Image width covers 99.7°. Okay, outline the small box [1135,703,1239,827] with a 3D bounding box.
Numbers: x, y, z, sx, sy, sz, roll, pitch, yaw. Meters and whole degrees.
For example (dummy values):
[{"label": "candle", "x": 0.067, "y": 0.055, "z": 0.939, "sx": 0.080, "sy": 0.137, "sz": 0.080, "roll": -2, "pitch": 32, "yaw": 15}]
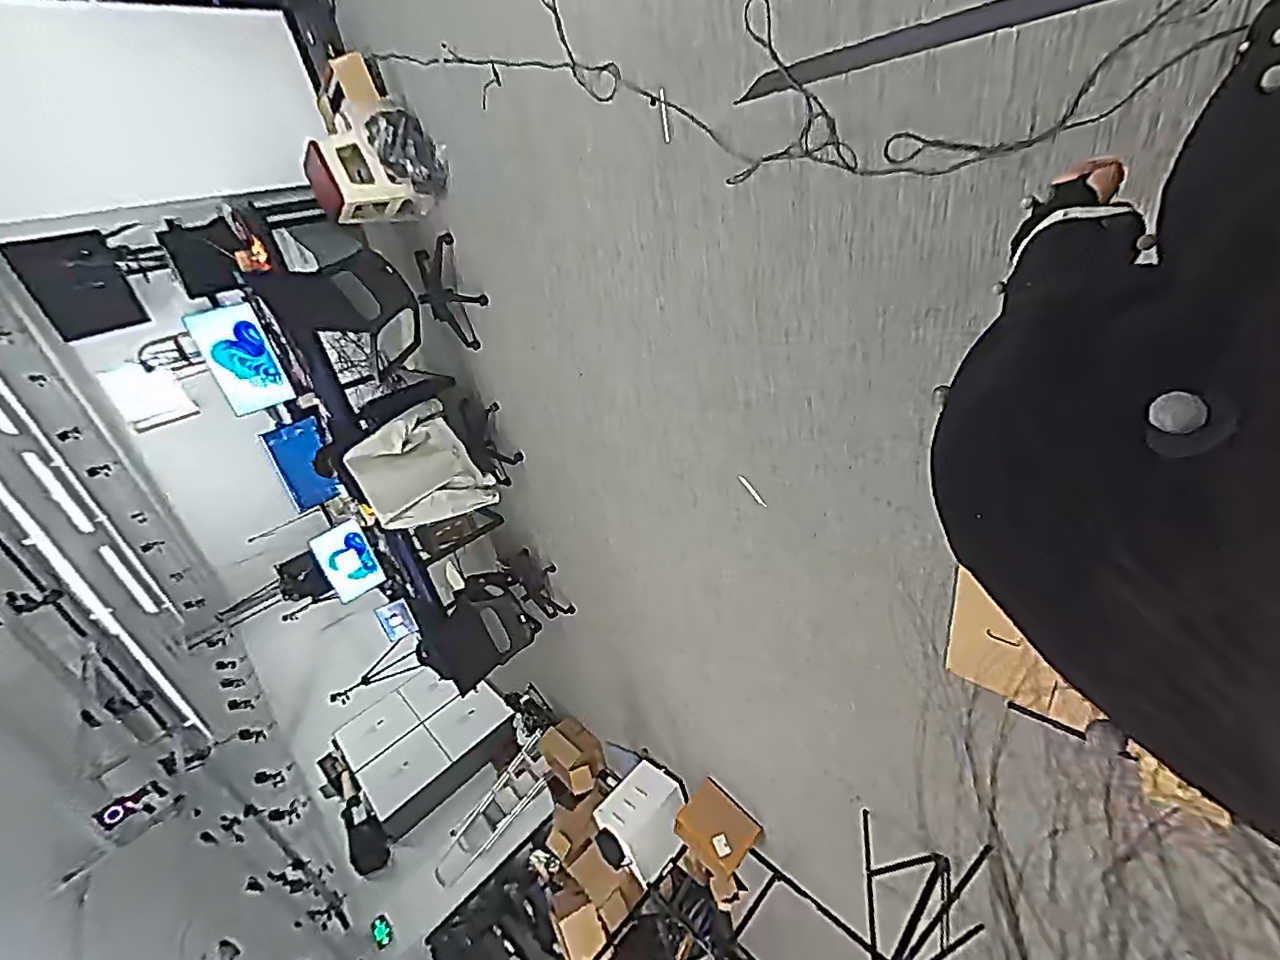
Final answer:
[{"label": "small box", "x": 1.368, "y": 0.704, "z": 1.353, "sx": 0.168, "sy": 0.176, "sz": 0.179, "roll": 7, "pitch": 122, "yaw": 48}]
